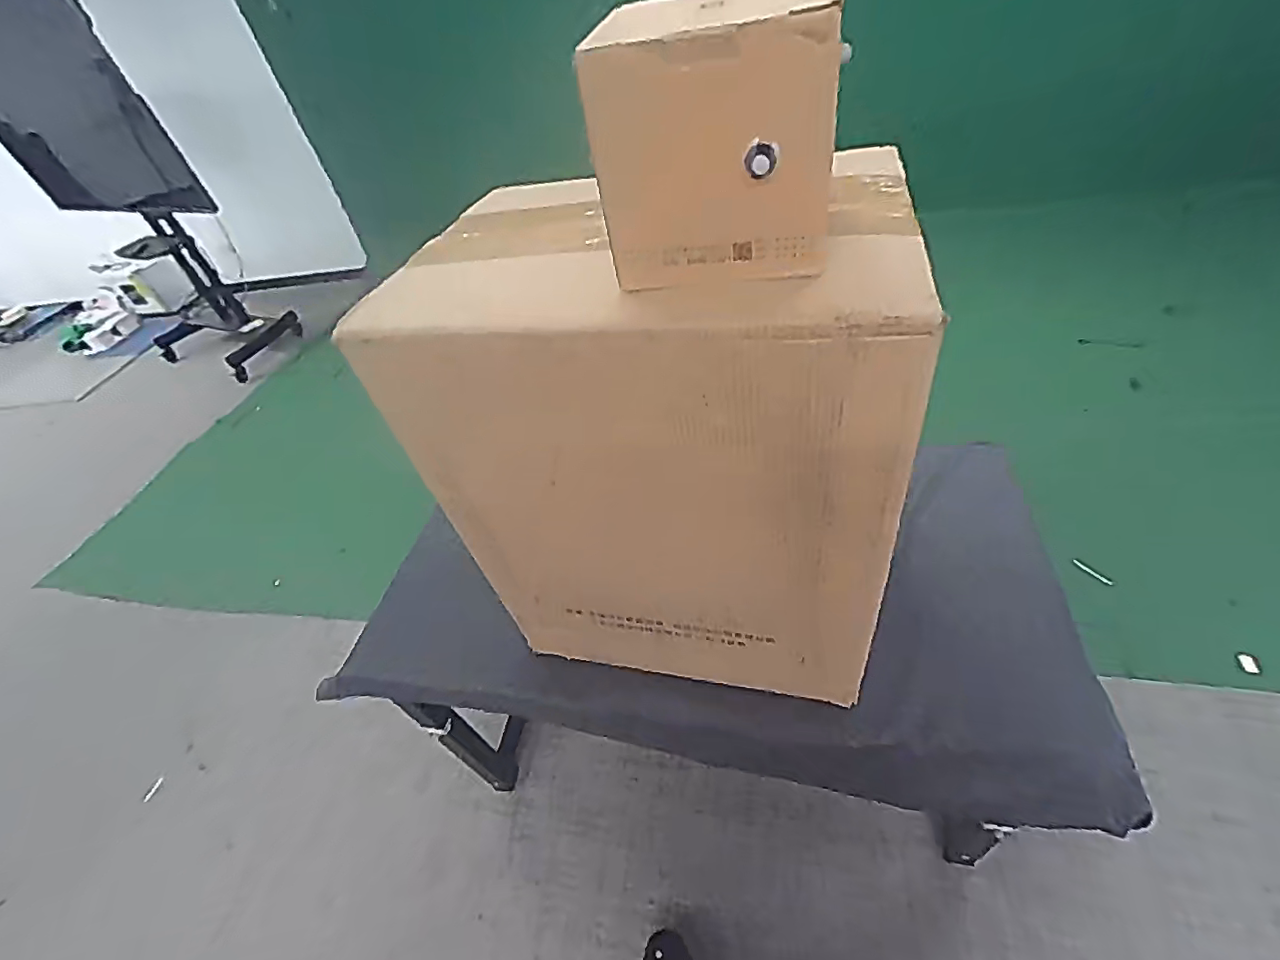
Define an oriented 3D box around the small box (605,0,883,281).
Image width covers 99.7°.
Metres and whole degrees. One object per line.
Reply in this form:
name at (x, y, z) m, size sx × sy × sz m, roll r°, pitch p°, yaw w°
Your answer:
small box at (0.081, -0.271, 0.428) m, size 0.168 × 0.176 × 0.179 m, roll 2°, pitch 48°, yaw 11°
